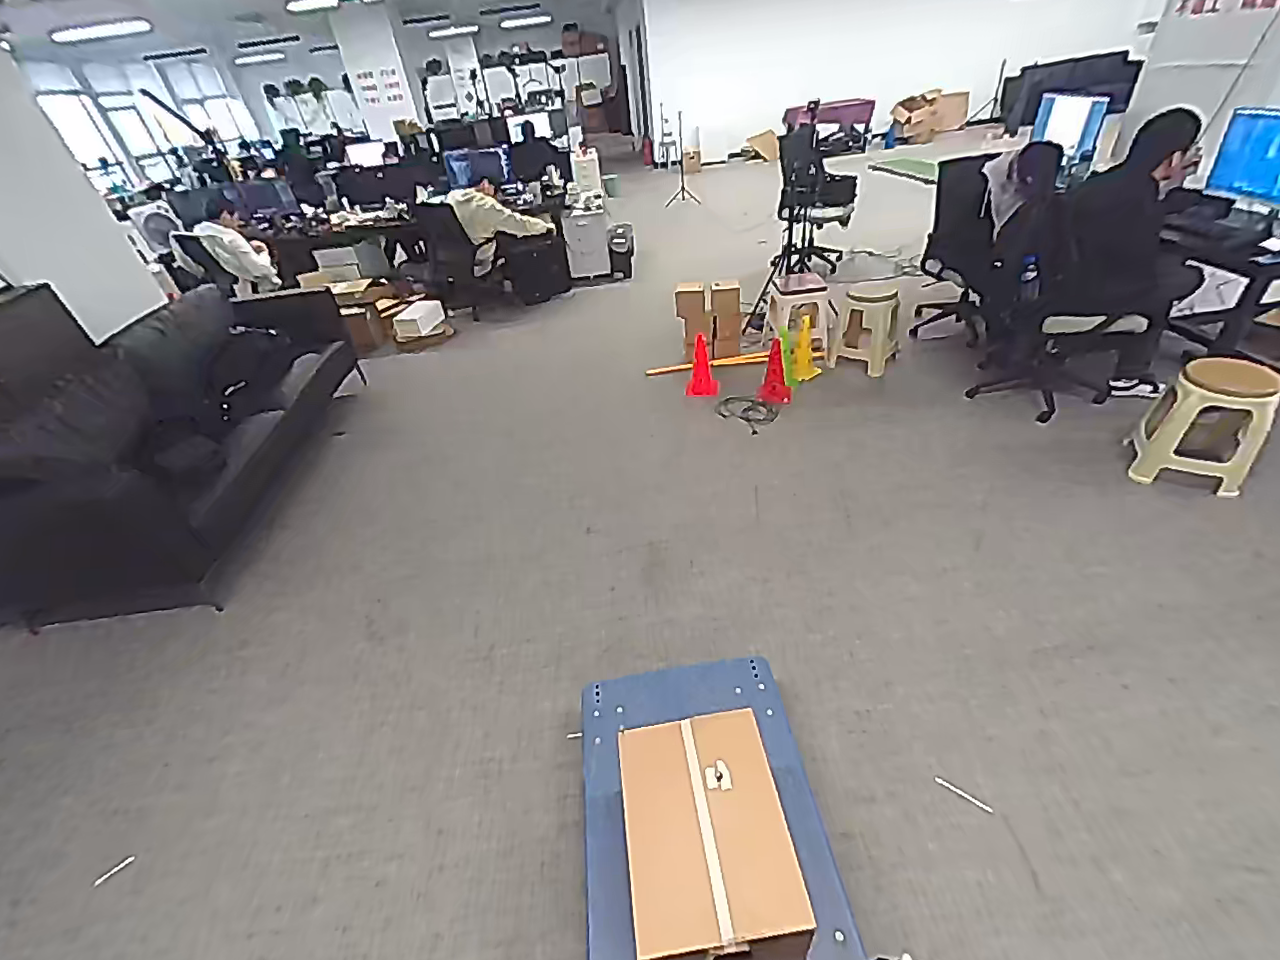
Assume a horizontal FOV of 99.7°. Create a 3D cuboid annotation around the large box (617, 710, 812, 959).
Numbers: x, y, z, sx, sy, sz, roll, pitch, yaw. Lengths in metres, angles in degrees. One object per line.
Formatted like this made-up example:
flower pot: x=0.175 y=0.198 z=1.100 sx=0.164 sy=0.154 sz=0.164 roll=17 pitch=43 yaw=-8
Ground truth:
large box: x=0.143 y=0.788 z=1.171 sx=0.320 sy=0.320 sz=0.408 roll=-9 pitch=37 yaw=-1
